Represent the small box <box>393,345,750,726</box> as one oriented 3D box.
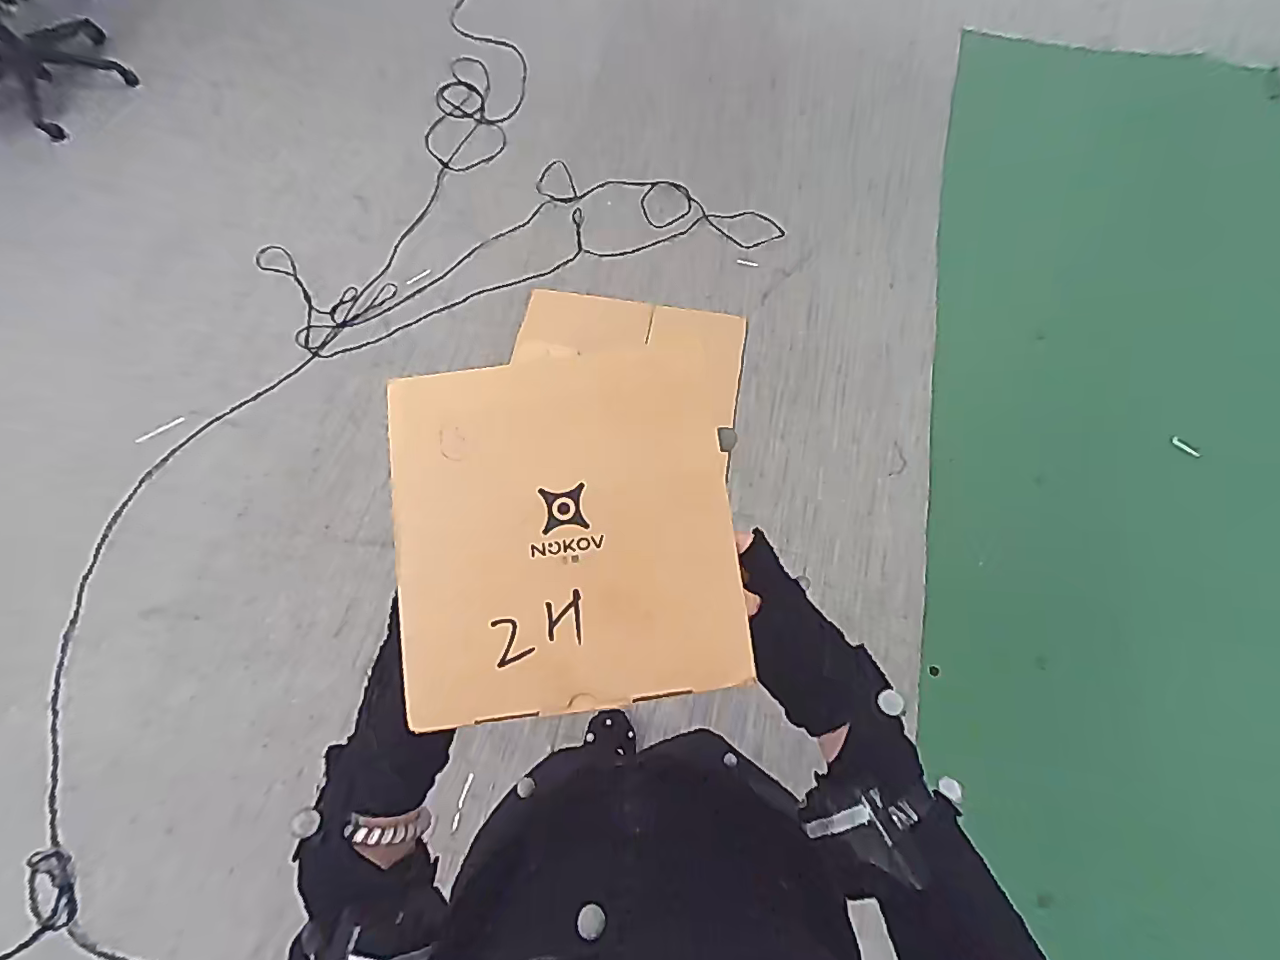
[{"bbox_3d":[-0.038,0.035,0.348,0.168,0.176,0.179,-8,81,-1],"label":"small box"}]
